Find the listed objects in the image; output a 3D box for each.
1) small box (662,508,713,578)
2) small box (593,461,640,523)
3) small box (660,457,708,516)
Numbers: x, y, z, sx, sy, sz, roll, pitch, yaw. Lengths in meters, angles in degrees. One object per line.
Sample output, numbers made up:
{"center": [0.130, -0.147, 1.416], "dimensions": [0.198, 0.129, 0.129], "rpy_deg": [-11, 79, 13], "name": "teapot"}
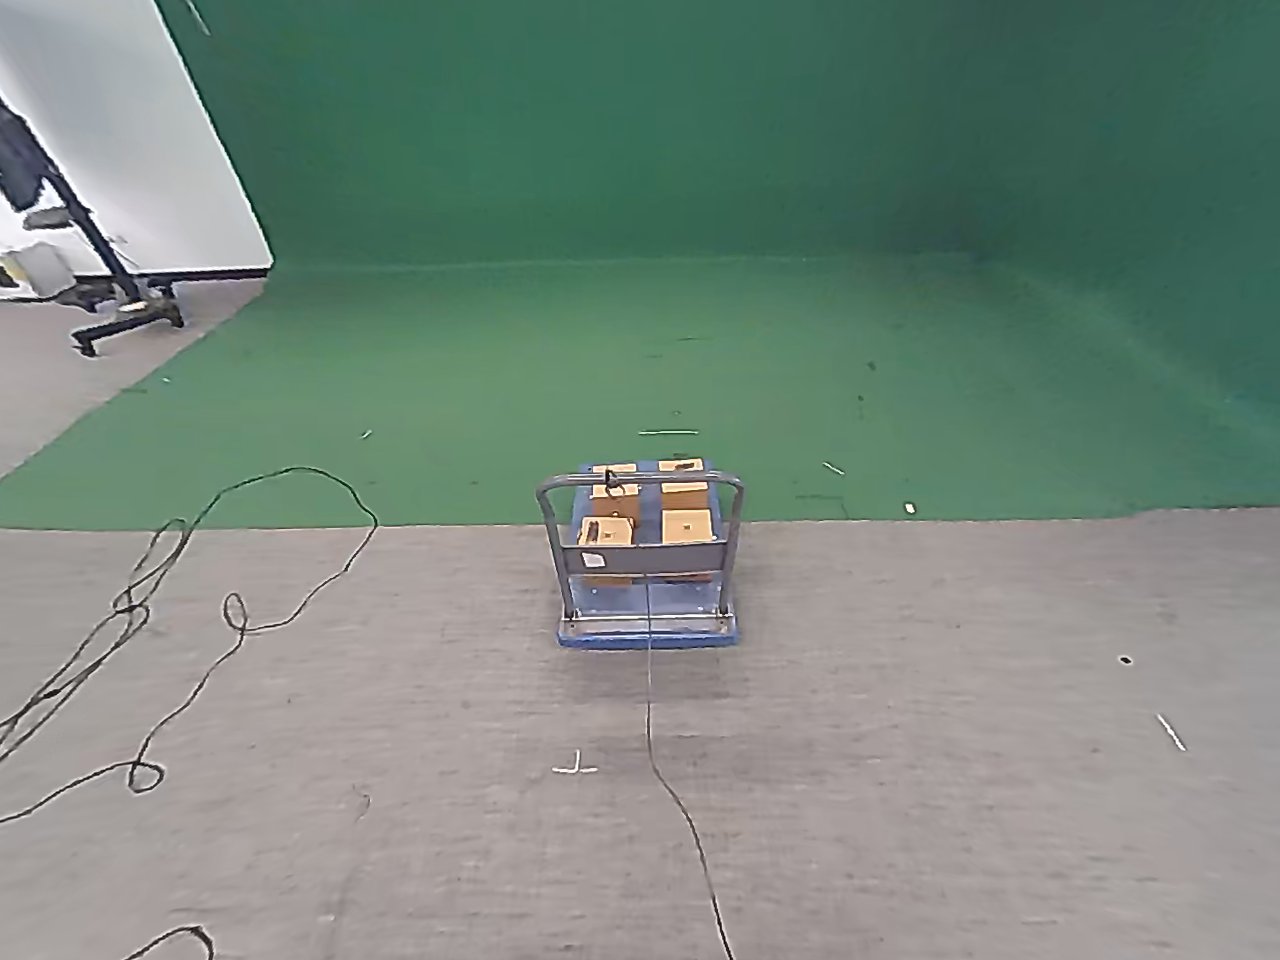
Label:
{"center": [0.160, 0.215, 1.857], "dimensions": [0.168, 0.176, 0.179], "rpy_deg": [0, 43, 3], "name": "small box"}
{"center": [-0.088, 0.051, 2.053], "dimensions": [0.168, 0.176, 0.179], "rpy_deg": [-3, 42, -1], "name": "small box"}
{"center": [0.163, 0.034, 2.058], "dimensions": [0.168, 0.176, 0.179], "rpy_deg": [-4, 43, 0], "name": "small box"}
